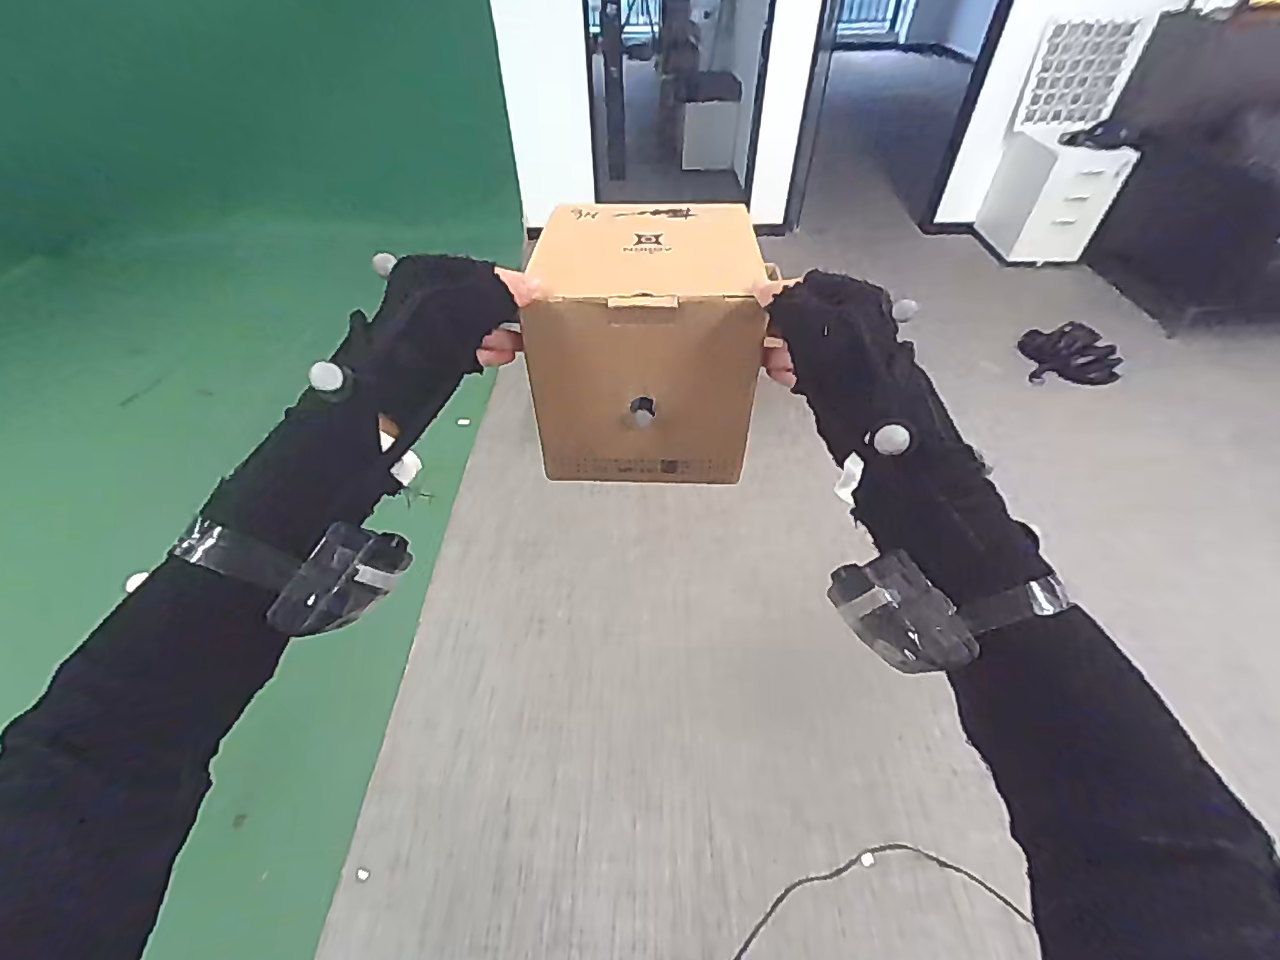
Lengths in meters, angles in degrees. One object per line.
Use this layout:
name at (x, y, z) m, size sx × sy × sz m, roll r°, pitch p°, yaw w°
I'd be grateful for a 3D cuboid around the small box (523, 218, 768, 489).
small box at (0.009, -0.107, 0.466) m, size 0.168 × 0.176 × 0.179 m, roll 1°, pitch 45°, yaw 2°
